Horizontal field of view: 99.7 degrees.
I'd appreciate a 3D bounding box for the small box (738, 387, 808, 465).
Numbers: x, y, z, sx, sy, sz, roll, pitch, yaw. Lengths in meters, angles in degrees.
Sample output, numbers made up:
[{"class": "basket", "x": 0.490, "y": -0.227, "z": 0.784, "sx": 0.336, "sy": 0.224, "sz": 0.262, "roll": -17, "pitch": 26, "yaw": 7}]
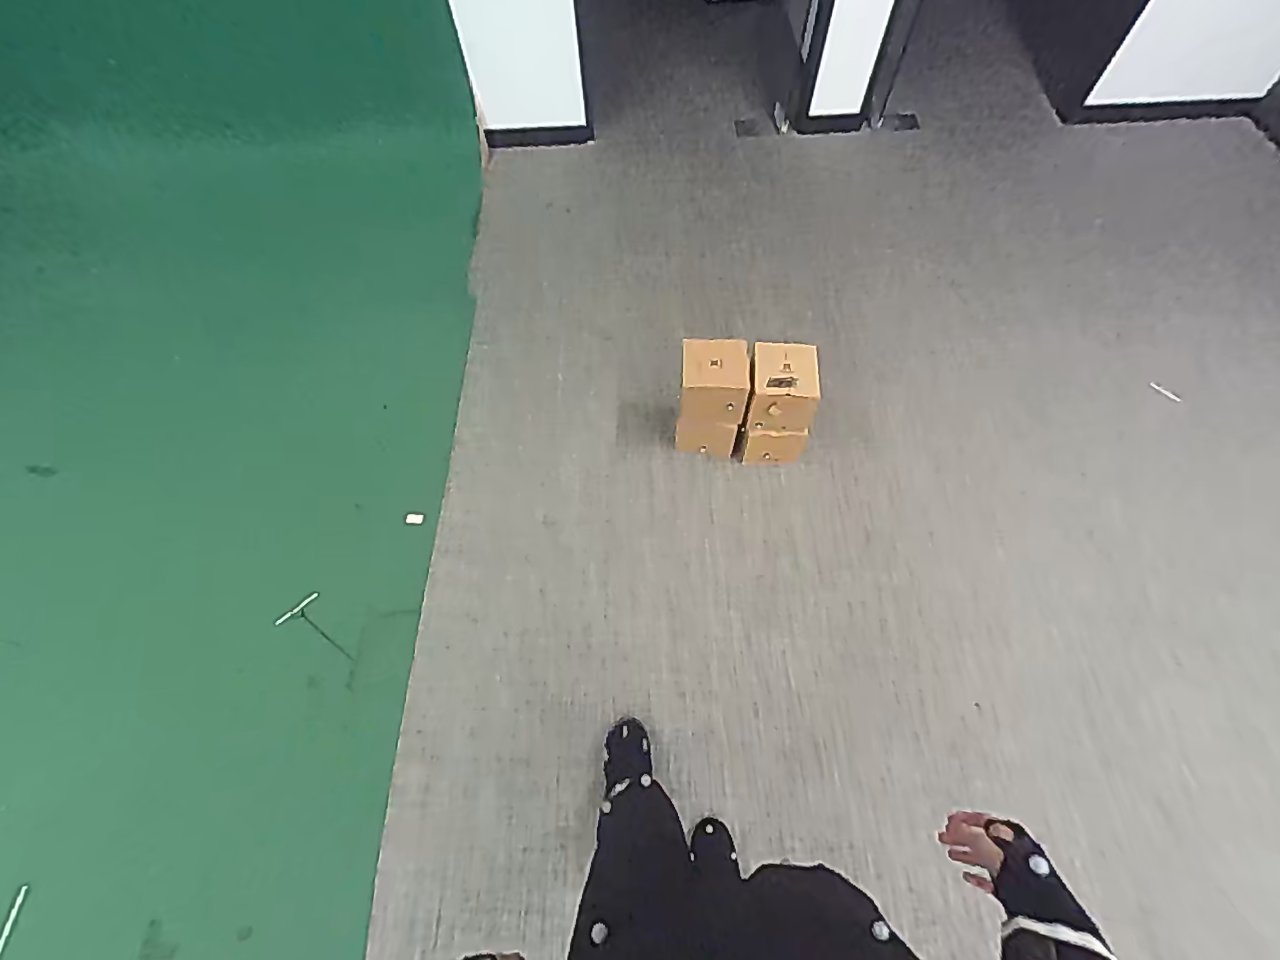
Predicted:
[{"class": "small box", "x": 0.390, "y": -0.160, "z": 1.618, "sx": 0.168, "sy": 0.176, "sz": 0.179, "roll": -2, "pitch": 63, "yaw": 1}]
